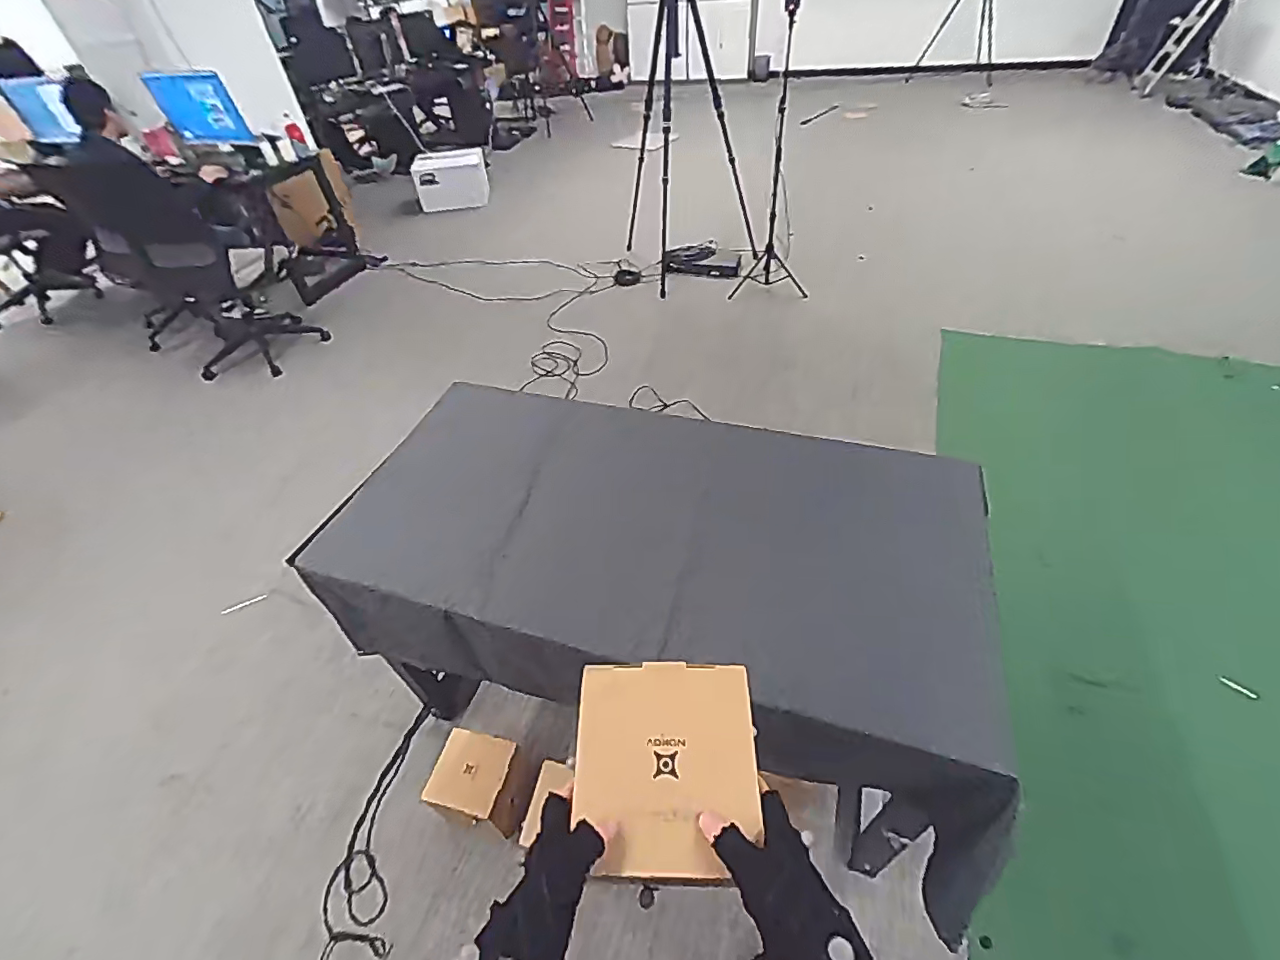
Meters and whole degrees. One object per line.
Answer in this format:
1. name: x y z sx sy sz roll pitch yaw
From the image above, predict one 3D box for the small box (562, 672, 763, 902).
1. small box: 0.022 0.311 0.547 0.168 0.176 0.179 0 51 3
